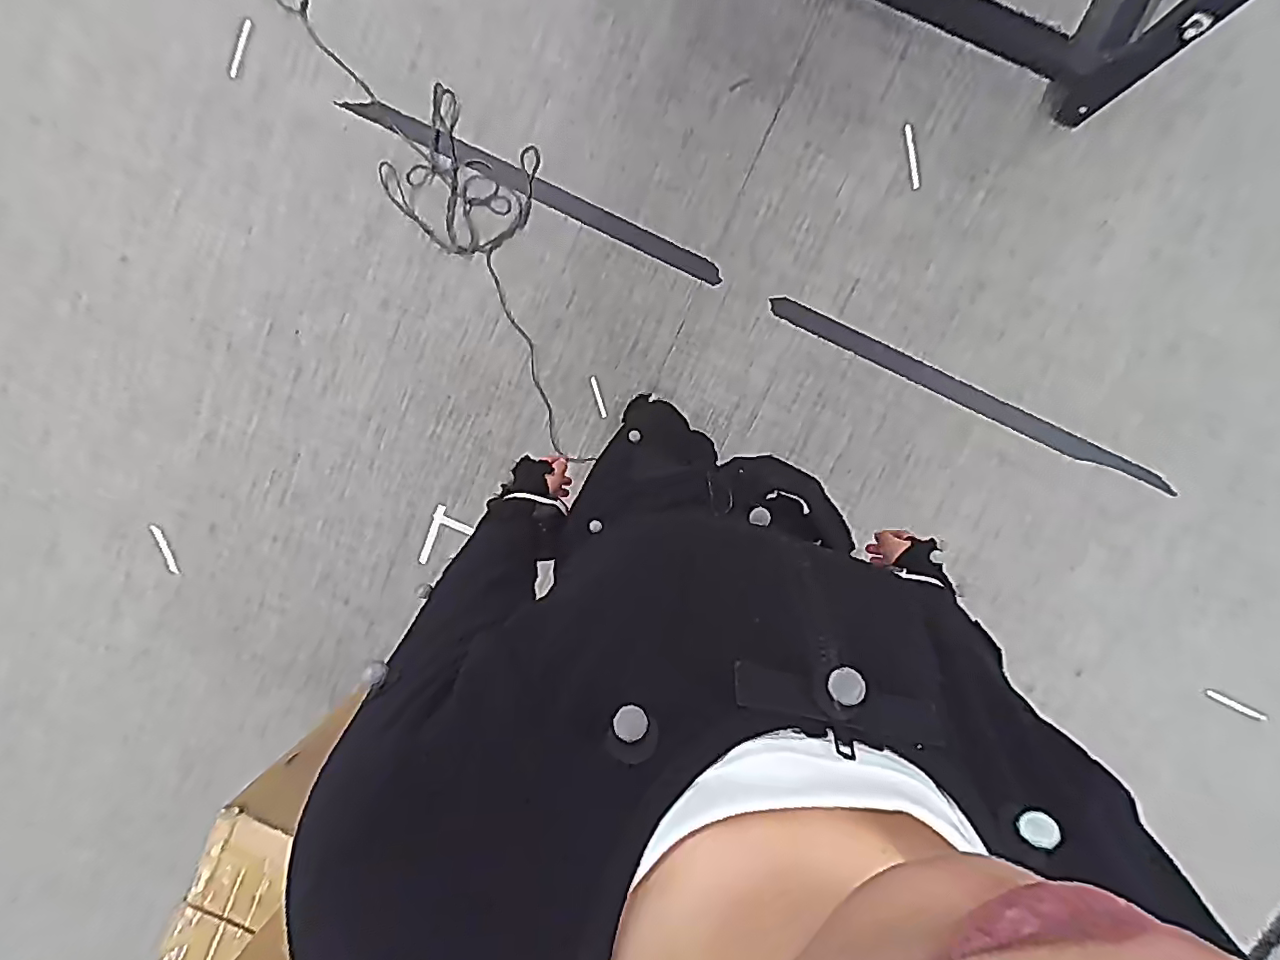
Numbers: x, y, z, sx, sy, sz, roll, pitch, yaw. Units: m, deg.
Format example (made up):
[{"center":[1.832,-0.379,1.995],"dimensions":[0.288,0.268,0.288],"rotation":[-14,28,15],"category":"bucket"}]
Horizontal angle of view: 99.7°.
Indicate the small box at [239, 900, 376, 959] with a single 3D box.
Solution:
[{"center":[-0.548,0.808,0.833],"dimensions":[0.179,0.176,0.168],"rotation":[27,99,2],"category":"small box"}]
